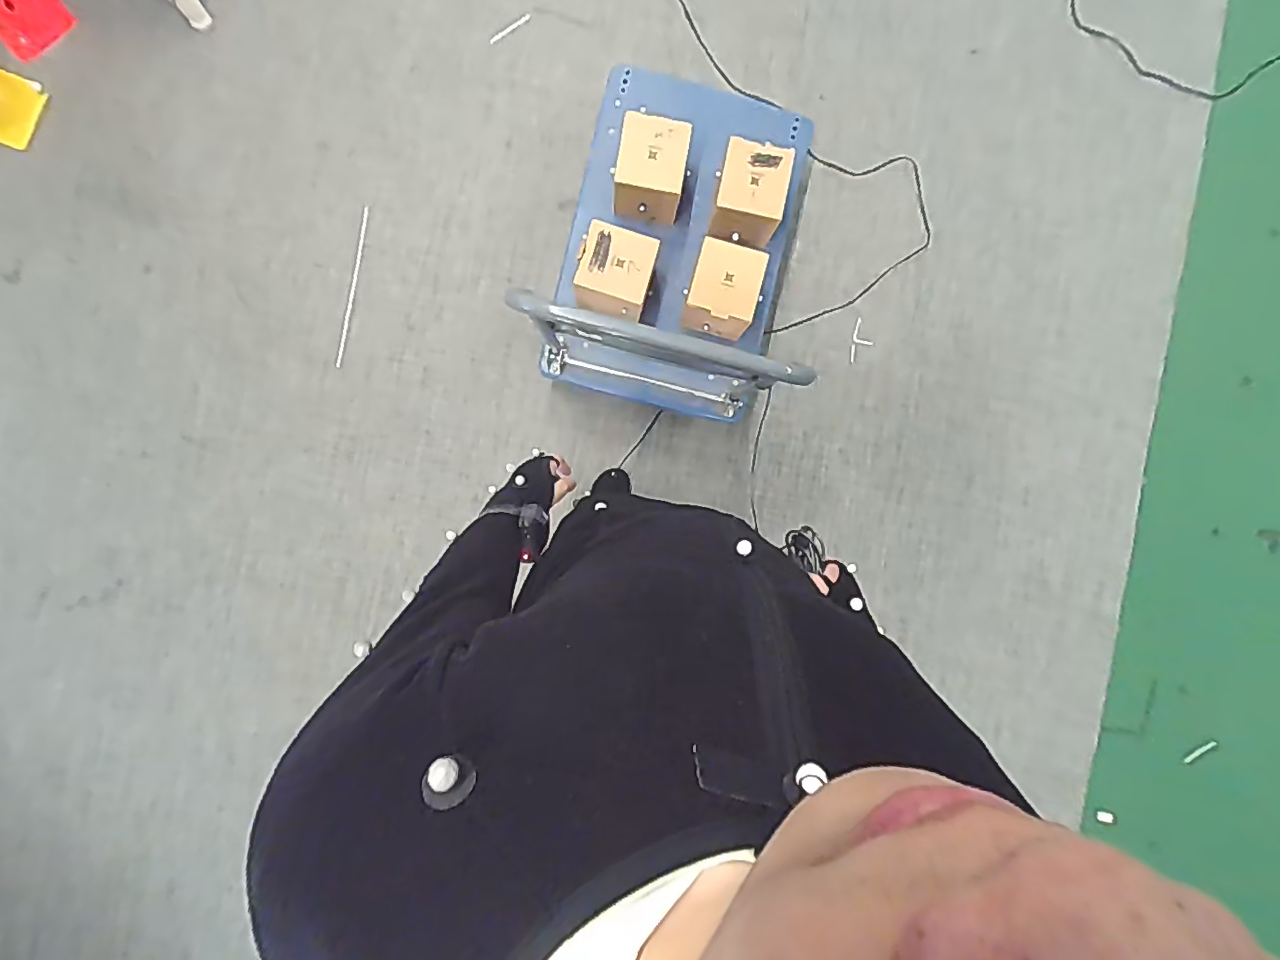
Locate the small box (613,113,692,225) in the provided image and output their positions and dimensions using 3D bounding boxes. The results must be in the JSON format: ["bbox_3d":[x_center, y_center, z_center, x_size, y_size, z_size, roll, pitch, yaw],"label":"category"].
[{"bbox_3d":[0.028,-0.779,1.374,0.168,0.176,0.179,10,90,-3],"label":"small box"}]

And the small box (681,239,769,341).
[{"bbox_3d":[0.210,-0.479,1.386,0.168,0.176,0.179,15,90,-3],"label":"small box"}]

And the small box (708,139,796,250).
[{"bbox_3d":[0.278,-0.724,1.386,0.168,0.176,0.179,12,91,-2],"label":"small box"}]
